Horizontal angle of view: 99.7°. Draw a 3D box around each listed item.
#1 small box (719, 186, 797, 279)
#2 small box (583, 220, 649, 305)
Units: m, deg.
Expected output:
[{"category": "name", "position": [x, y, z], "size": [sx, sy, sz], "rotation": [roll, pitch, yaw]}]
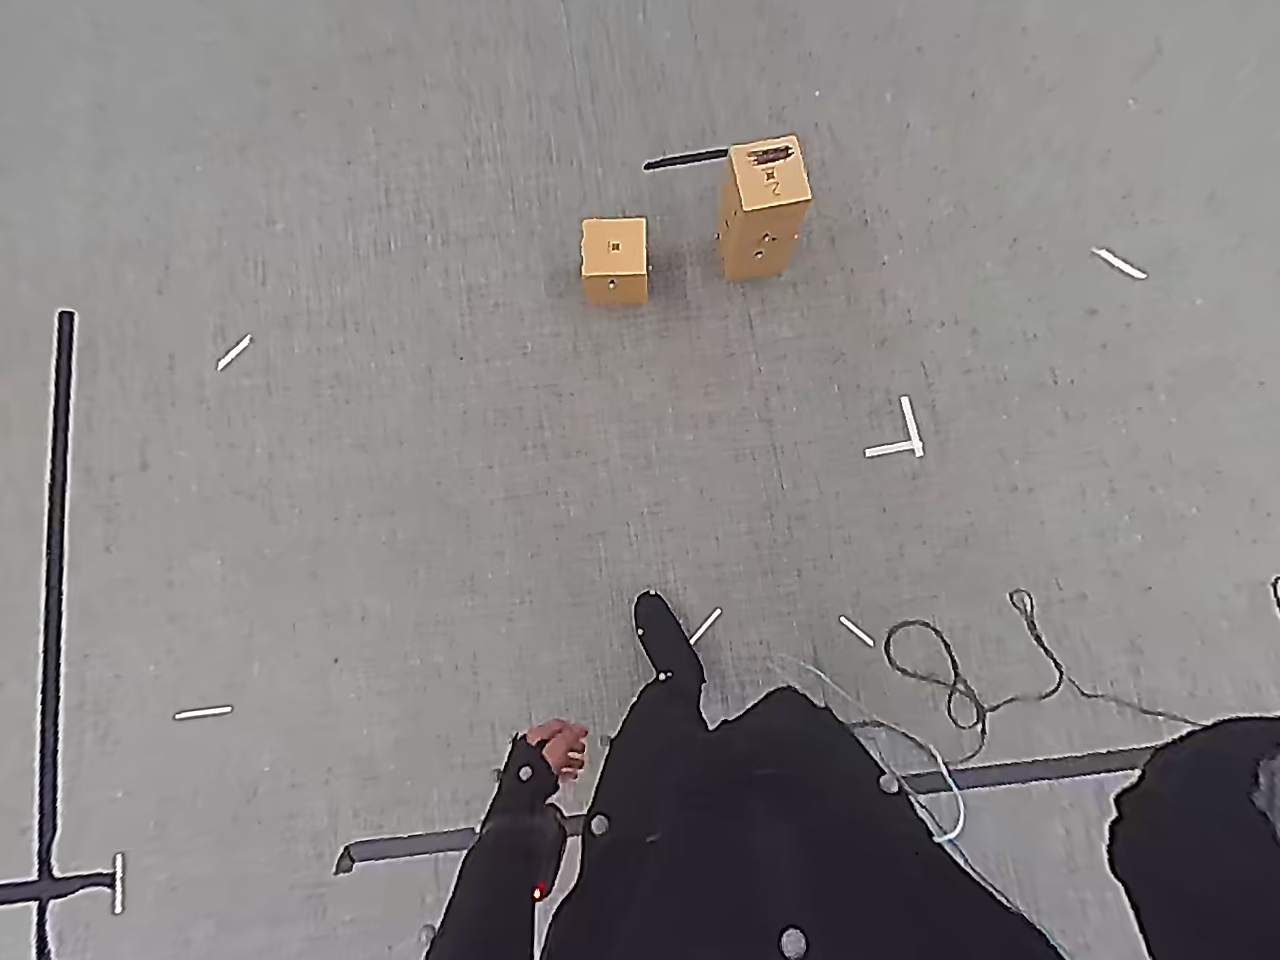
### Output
[{"category": "small box", "position": [0.325, -0.690, 1.526], "size": [0.179, 0.176, 0.168], "rotation": [-10, 81, 0]}, {"category": "small box", "position": [-0.063, -0.610, 1.530], "size": [0.179, 0.176, 0.168], "rotation": [-1, 81, 3]}]
